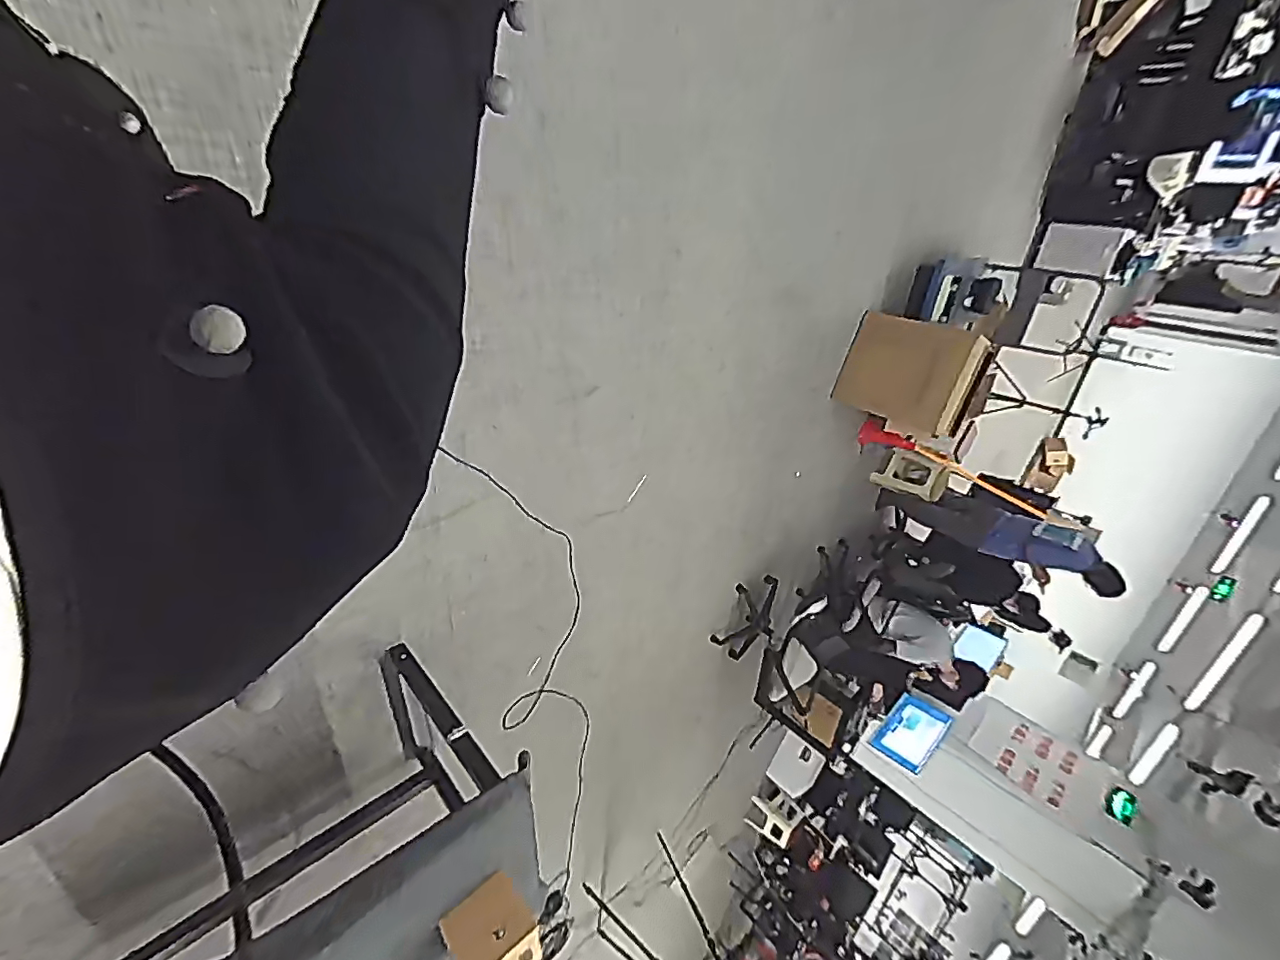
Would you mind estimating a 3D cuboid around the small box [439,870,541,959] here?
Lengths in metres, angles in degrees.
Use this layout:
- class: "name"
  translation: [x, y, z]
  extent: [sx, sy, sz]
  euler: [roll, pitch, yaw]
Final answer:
- class: "small box"
  translation: [-0.366, 1.120, 1.328]
  extent: [0.179, 0.176, 0.168]
  euler: [-23, 128, -36]
